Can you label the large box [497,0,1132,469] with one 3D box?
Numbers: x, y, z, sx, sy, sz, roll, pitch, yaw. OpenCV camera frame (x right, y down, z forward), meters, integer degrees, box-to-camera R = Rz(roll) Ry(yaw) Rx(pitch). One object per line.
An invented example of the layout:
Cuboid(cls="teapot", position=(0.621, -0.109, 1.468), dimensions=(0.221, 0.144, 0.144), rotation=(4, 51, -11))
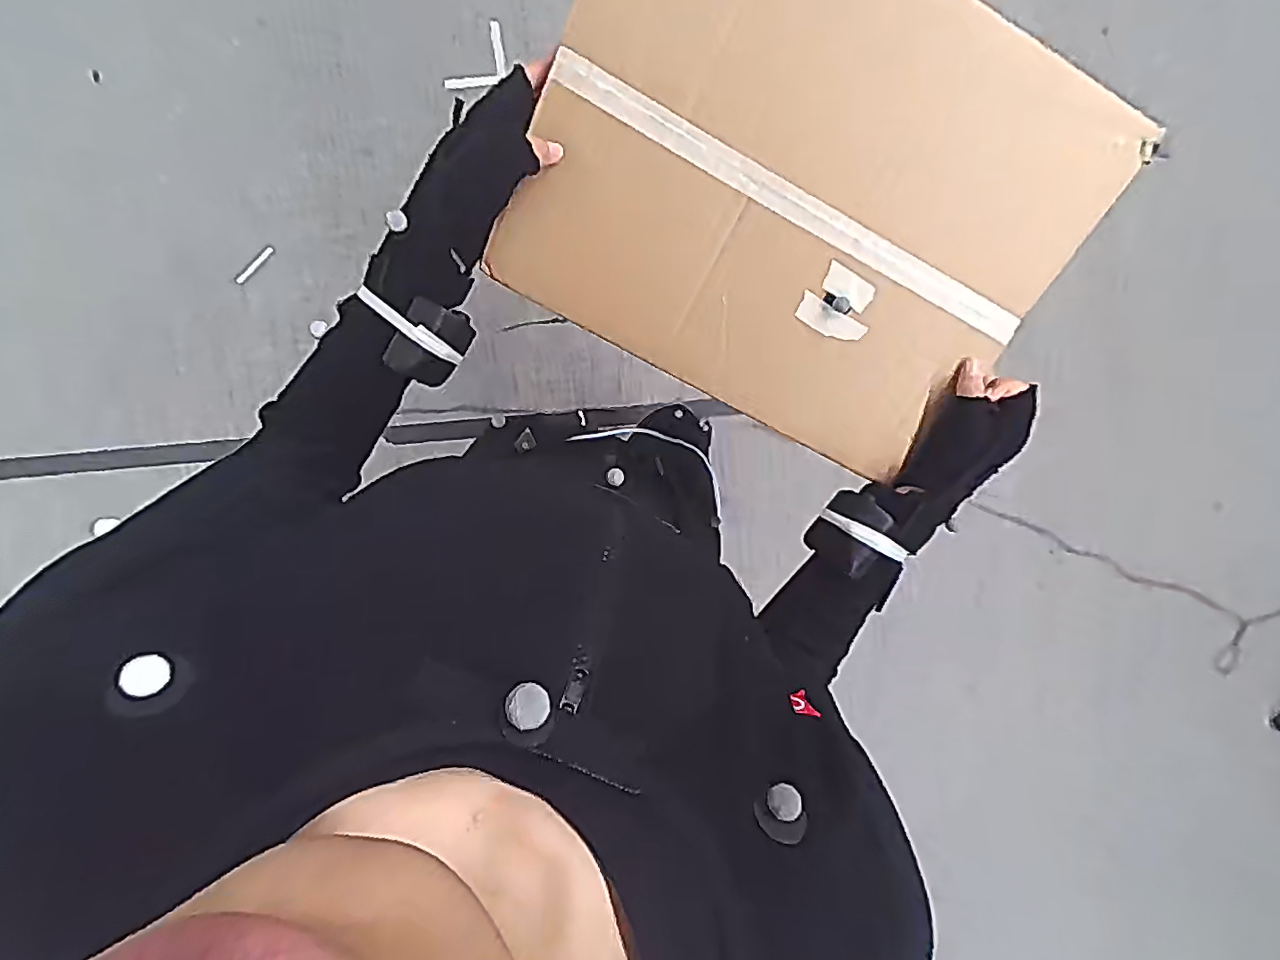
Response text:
Cuboid(cls="large box", position=(0.126, -0.272, 0.562), dimensions=(0.408, 0.320, 0.320), rotation=(26, 112, -9))
